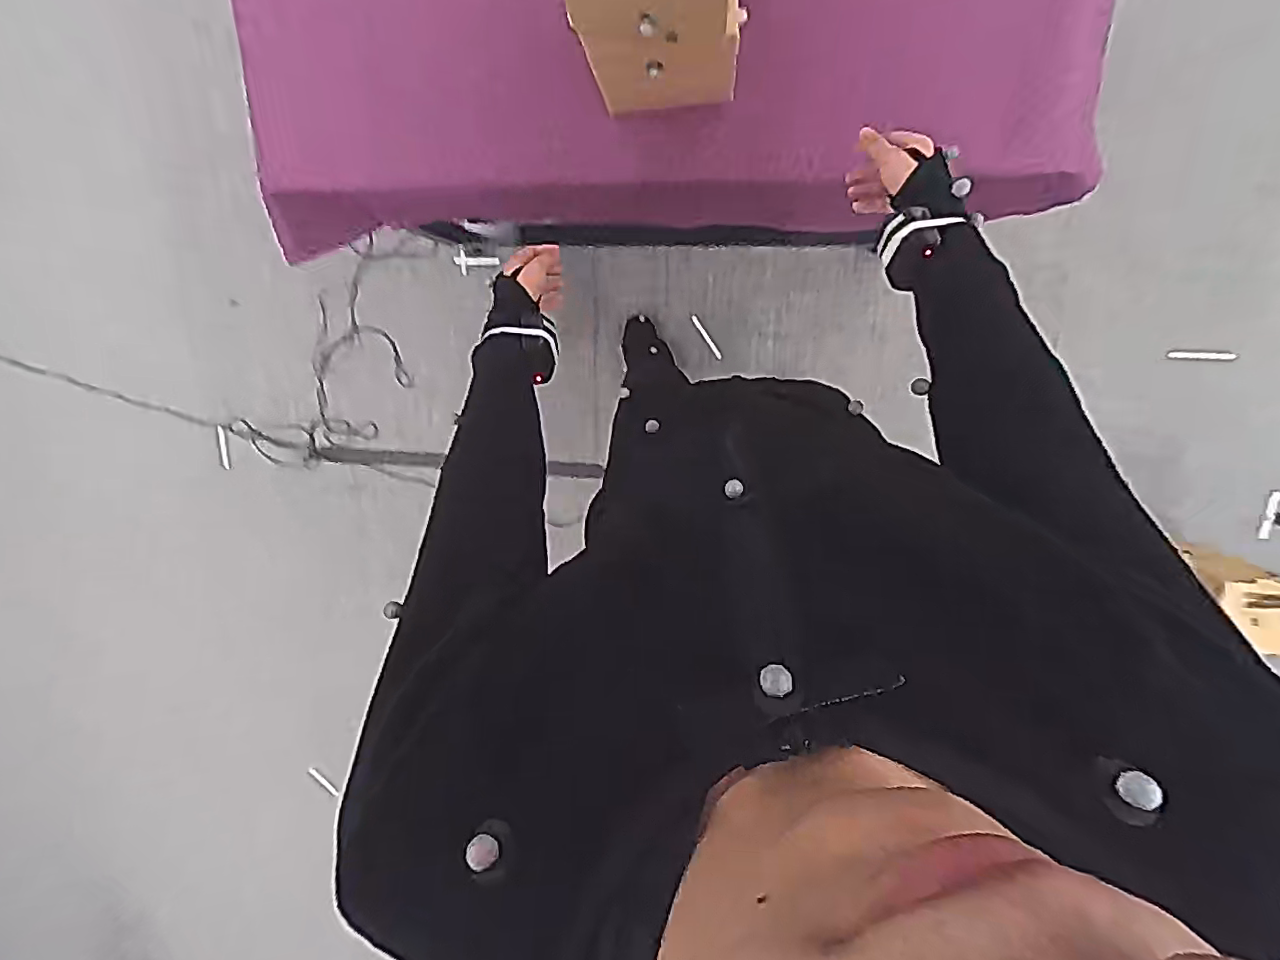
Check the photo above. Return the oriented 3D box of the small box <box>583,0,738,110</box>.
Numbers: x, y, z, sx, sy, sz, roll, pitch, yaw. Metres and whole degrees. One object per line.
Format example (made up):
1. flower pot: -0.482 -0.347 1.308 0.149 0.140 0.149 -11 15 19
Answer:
1. small box: 0.029 -0.586 0.666 0.179 0.176 0.168 -2 103 7

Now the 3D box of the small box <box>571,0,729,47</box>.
1. small box: 0.008 -0.552 0.506 0.168 0.176 0.179 4 104 7

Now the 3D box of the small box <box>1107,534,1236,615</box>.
1. small box: 1.411 0.249 1.450 0.179 0.176 0.168 -1 103 7
